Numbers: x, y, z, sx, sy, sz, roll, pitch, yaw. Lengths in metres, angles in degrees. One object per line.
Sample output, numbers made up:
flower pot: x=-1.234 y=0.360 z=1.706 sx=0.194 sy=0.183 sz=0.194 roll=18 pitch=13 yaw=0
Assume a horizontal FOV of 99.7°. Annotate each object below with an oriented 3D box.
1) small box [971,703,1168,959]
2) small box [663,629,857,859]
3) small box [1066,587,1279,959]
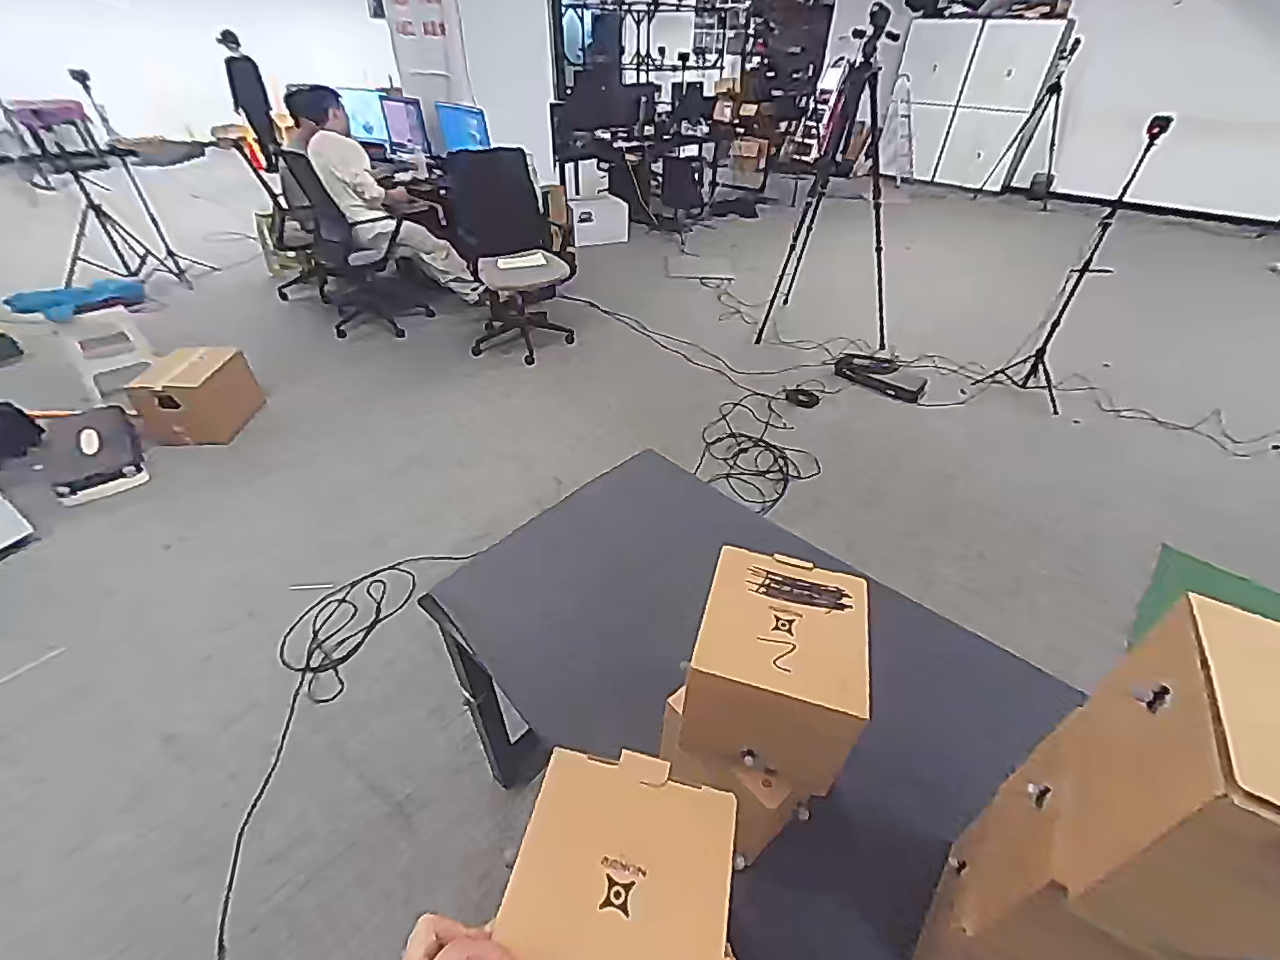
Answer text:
small box: x=0.407 y=0.338 z=0.452 sx=0.168 sy=0.176 sz=0.179 roll=25 pitch=43 yaw=29
small box: x=0.145 y=0.339 z=0.707 sx=0.179 sy=0.176 sz=0.168 roll=-25 pitch=45 yaw=-32
small box: x=0.407 y=0.210 z=0.347 sx=0.168 sy=0.176 sz=0.179 roll=22 pitch=41 yaw=27
